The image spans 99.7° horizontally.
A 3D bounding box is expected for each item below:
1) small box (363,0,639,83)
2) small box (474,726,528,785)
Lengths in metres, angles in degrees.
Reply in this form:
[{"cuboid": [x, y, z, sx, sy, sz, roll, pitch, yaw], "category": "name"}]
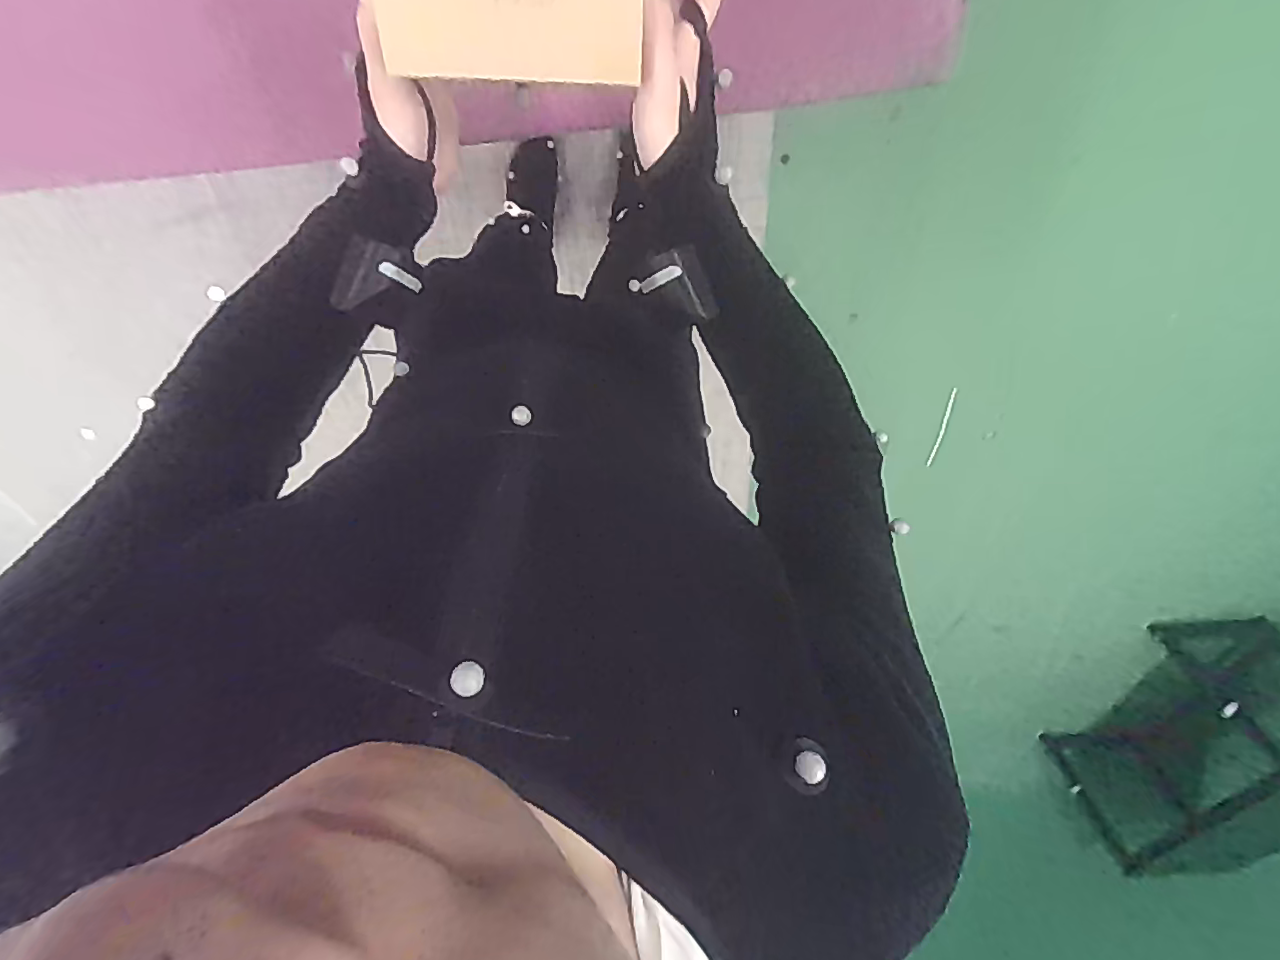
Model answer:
[{"cuboid": [-0.082, -0.377, 0.359, 0.168, 0.176, 0.179, 2, 126, 0], "category": "small box"}, {"cuboid": [-0.544, 1.097, 2.136, 0.168, 0.176, 0.179, -1, 128, -2], "category": "small box"}]
